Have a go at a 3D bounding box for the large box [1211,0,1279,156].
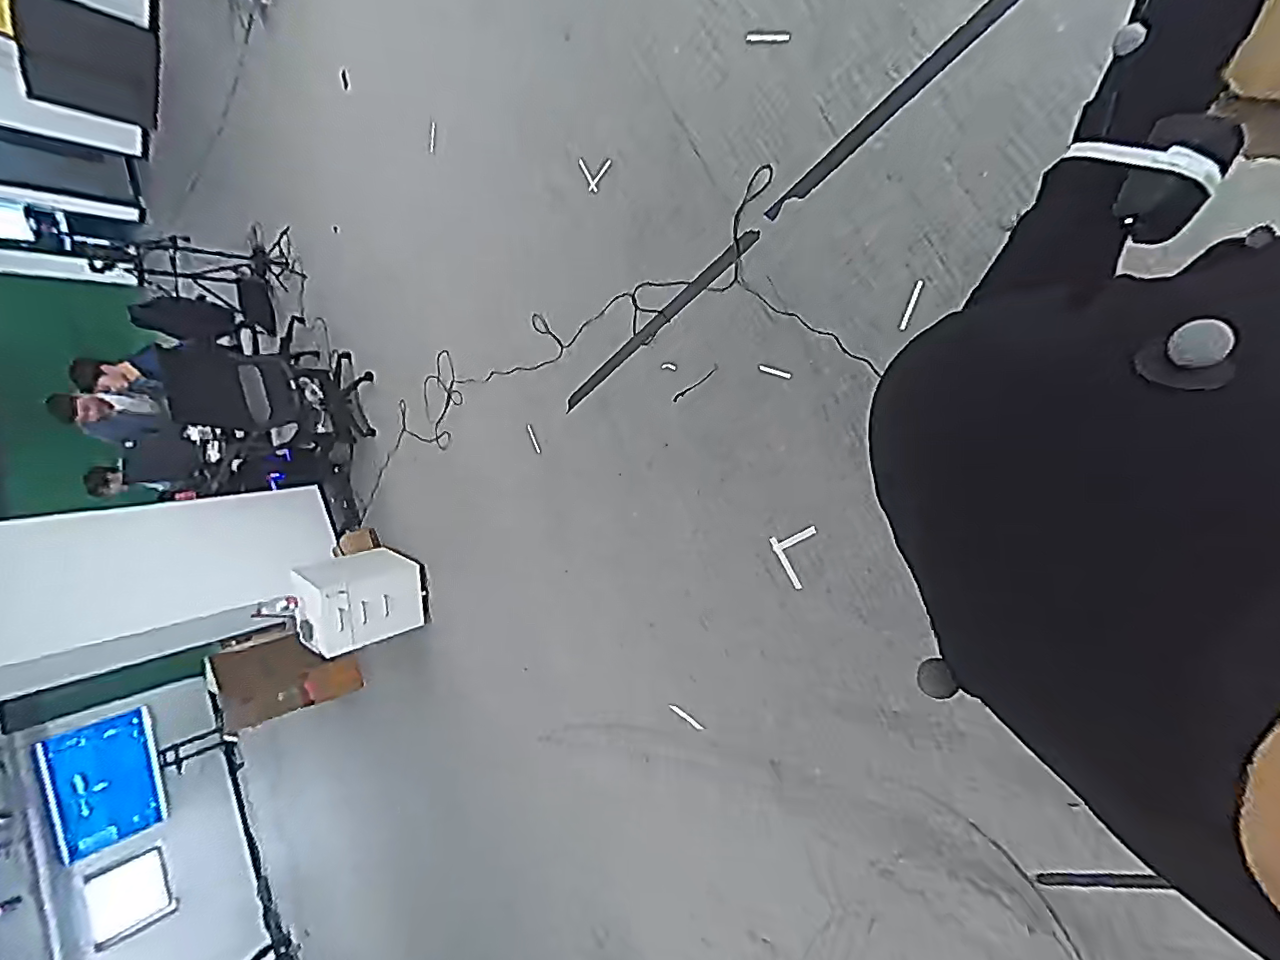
[{"bbox_3d":[0.647,-0.344,0.278,0.408,0.320,0.320,33,129,33],"label":"large box"}]
